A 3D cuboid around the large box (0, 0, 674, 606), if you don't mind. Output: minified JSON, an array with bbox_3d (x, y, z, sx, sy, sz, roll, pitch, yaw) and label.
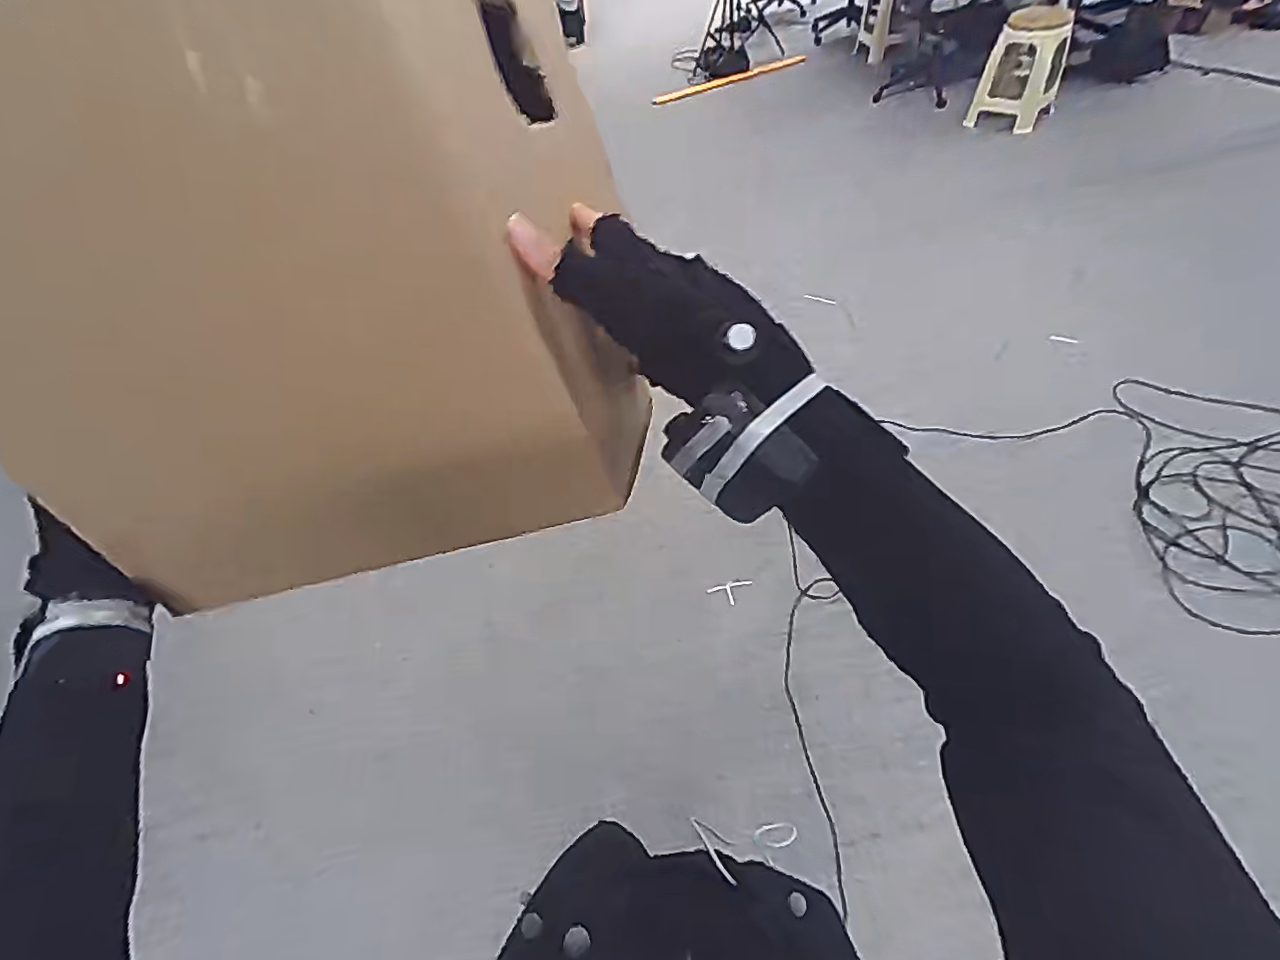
[{"bbox_3d":[-0.218,-0.139,0.444,0.408,0.320,0.320,-14,31,17],"label":"large box"}]
